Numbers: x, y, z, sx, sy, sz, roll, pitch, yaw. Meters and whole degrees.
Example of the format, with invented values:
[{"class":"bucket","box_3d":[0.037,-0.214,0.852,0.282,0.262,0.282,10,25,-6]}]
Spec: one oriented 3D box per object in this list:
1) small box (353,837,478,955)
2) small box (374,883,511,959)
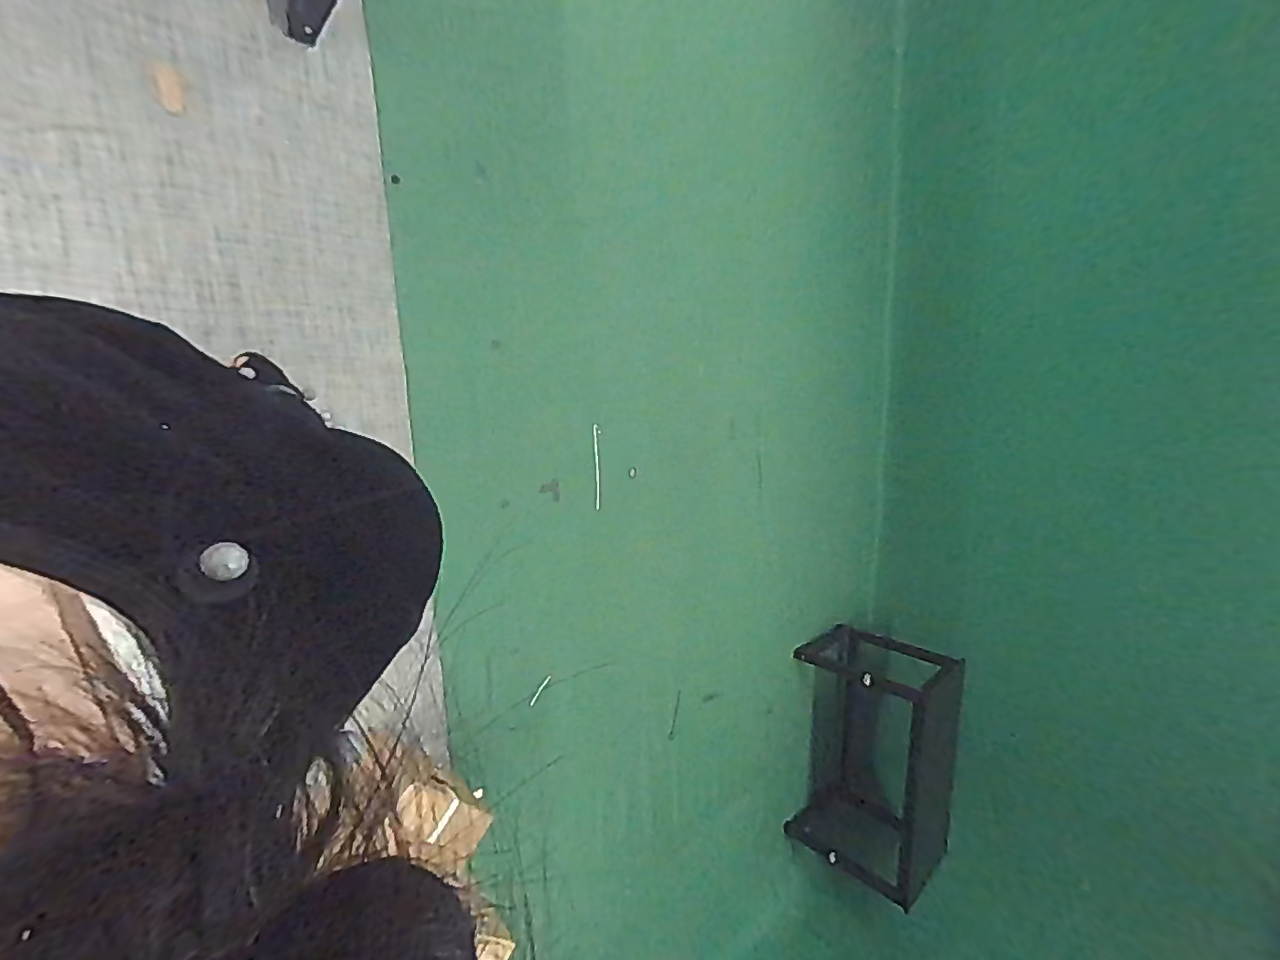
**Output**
[{"class":"small box","box_3d":[-0.521,0.975,1.255,0.168,0.176,0.179,-52,127,-25]},{"class":"small box","box_3d":[-0.414,0.992,1.133,0.168,0.176,0.179,-55,129,-24]}]
